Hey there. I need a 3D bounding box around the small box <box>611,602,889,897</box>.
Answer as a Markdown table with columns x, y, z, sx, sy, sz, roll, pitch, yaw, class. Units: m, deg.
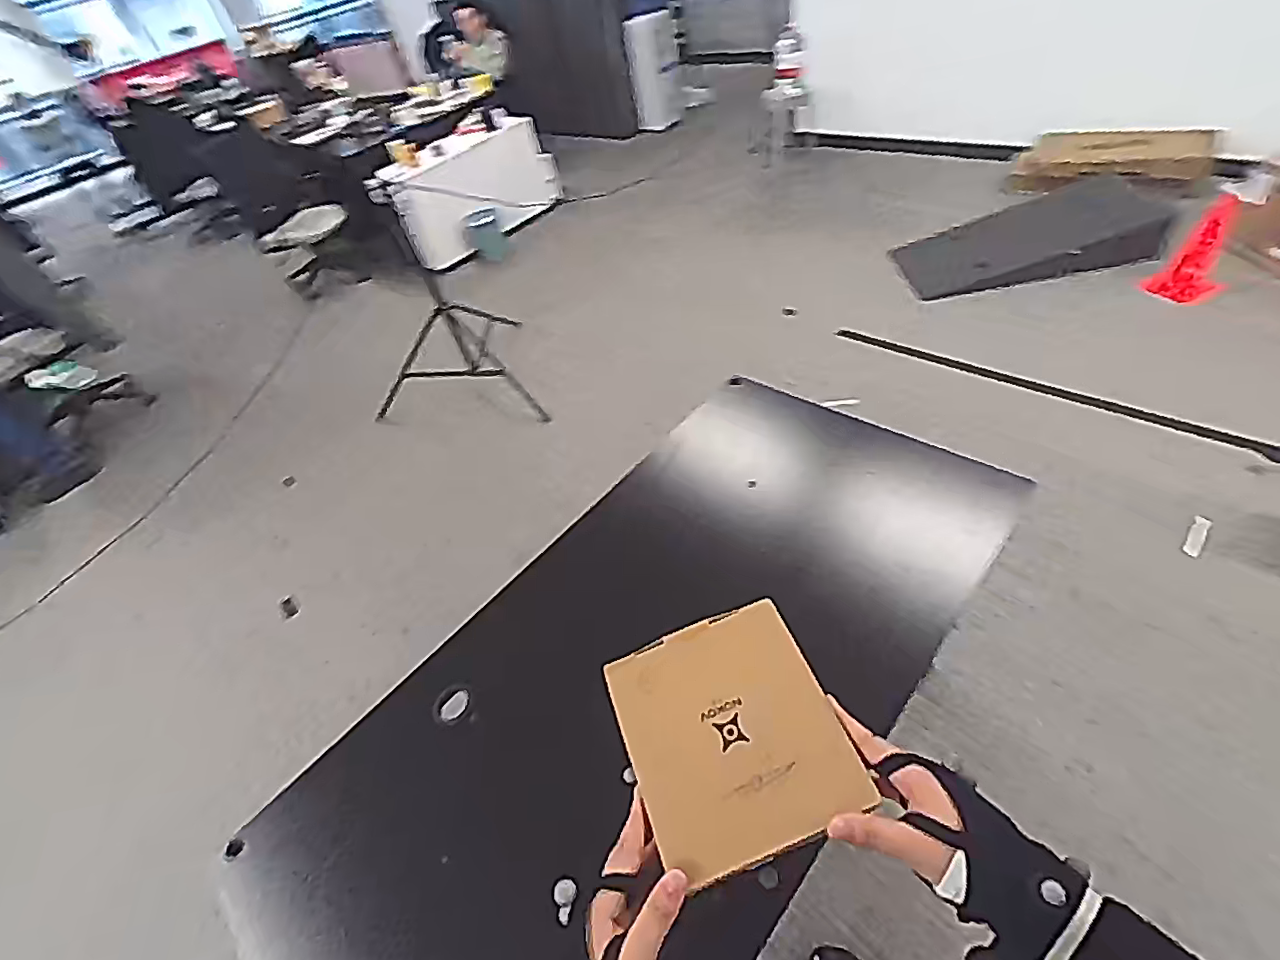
| x | y | z | sx | sy | sz | roll | pitch | yaw | class |
| --- | --- | --- | --- | --- | --- | --- | --- | --- | --- |
| 0.086 | 0.244 | 0.487 | 0.168 | 0.176 | 0.179 | -20 | 53 | -3 | small box |
